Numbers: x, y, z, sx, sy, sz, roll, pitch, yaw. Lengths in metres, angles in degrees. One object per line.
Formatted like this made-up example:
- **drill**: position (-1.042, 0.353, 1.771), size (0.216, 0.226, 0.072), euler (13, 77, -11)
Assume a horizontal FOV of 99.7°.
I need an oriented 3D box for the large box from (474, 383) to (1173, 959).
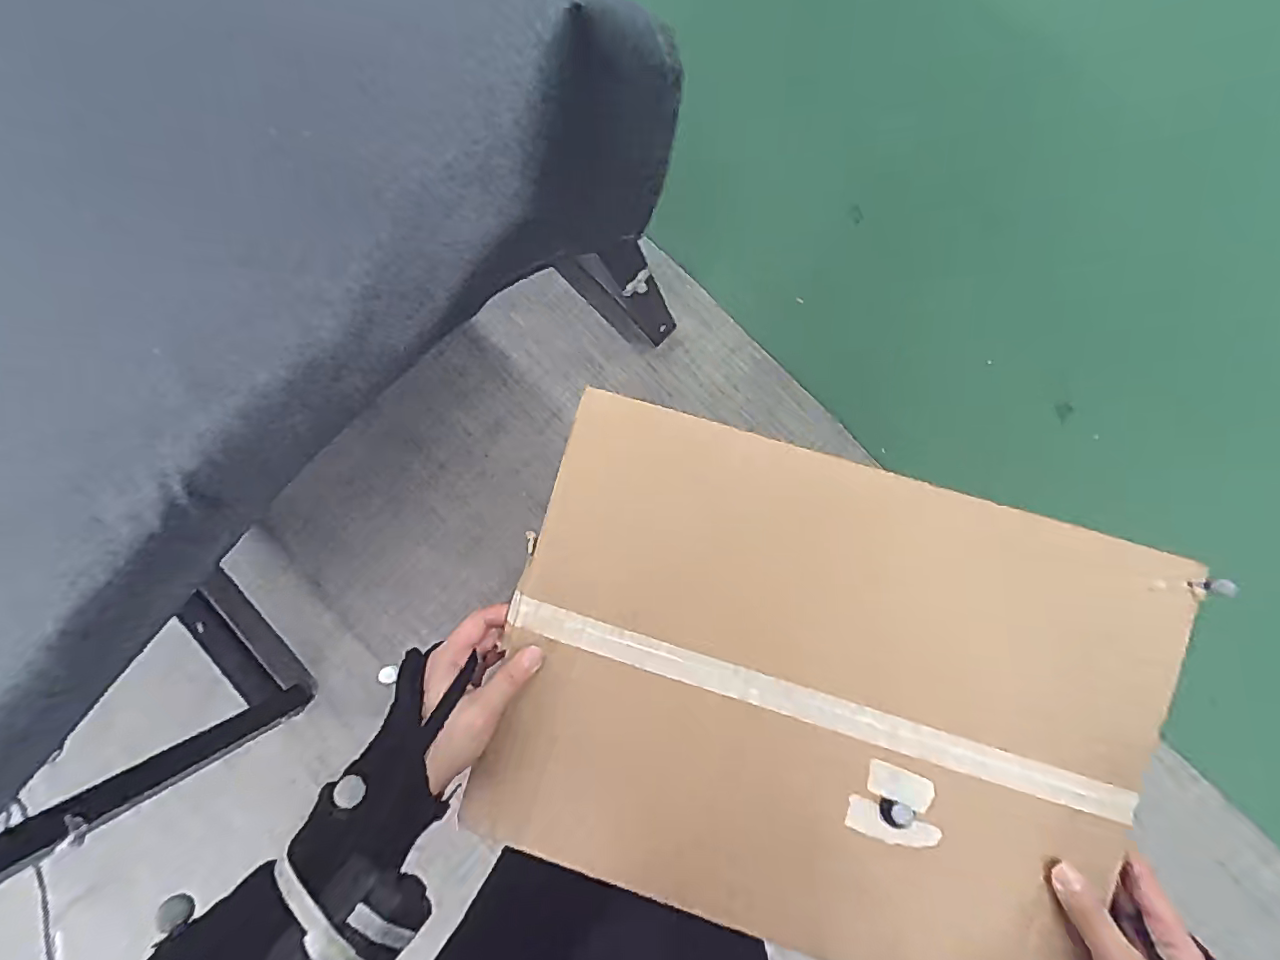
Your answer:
- **large box**: position (0.121, 0.131, 0.506), size (0.408, 0.320, 0.320), euler (16, 91, 4)
